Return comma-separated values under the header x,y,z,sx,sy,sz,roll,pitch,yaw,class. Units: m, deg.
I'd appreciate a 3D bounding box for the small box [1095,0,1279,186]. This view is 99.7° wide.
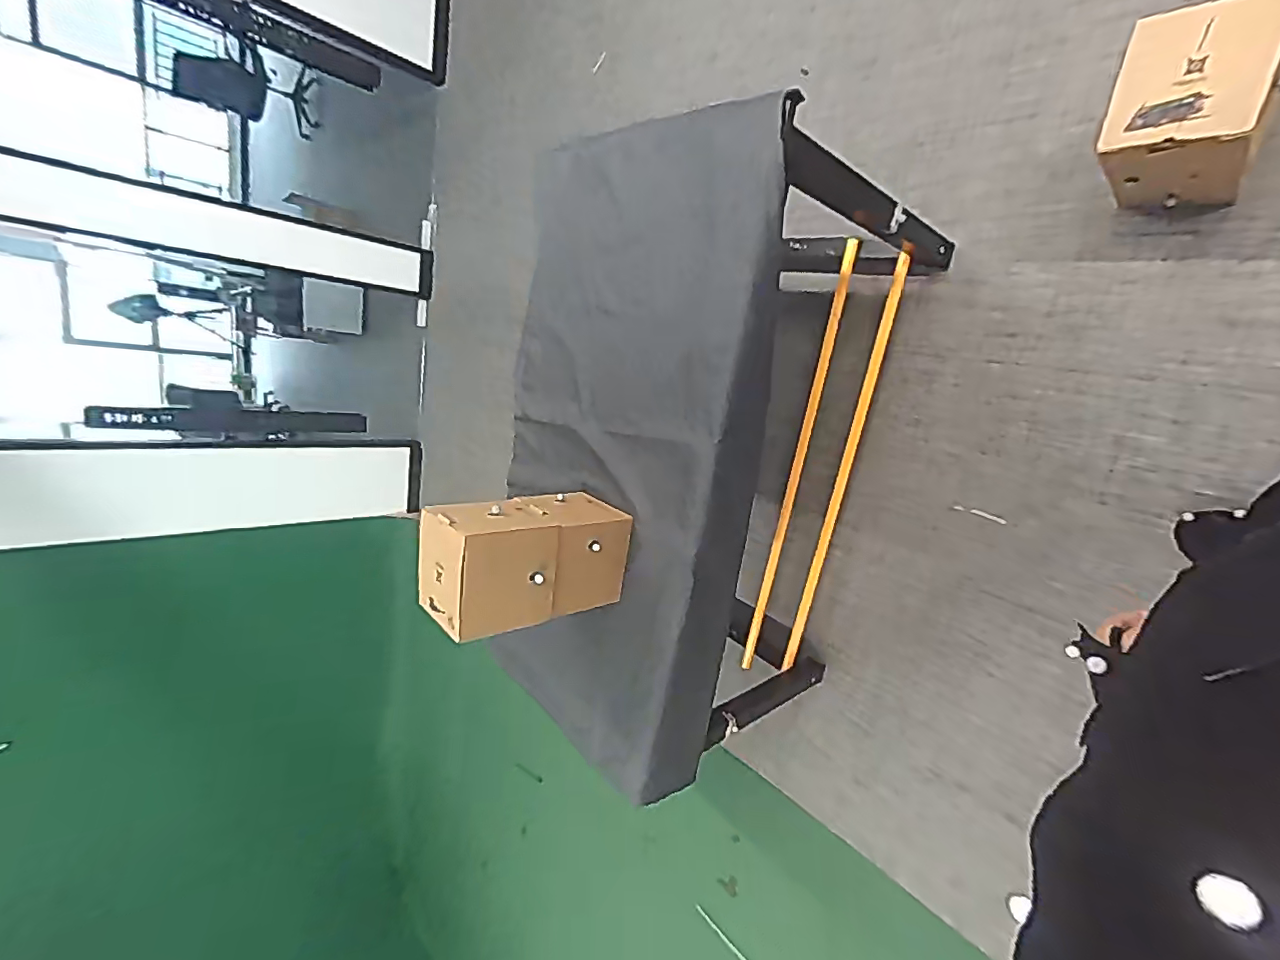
x,y,z,sx,sy,sz,roll,pitch,yaw,class
0.811,-0.553,0.794,0.168,0.176,0.179,22,107,44,small box

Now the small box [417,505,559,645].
x,y,z,sx,sy,sz,roll,pitch,yaw,class
-0.252,0.144,0.901,0.168,0.176,0.179,19,105,46,small box

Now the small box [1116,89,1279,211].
x,y,z,sx,sy,sz,roll,pitch,yaw,class
0.930,-0.572,0.906,0.168,0.176,0.179,25,109,44,small box

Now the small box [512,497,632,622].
x,y,z,sx,sy,sz,roll,pitch,yaw,class
-0.134,0.137,1.017,0.168,0.176,0.179,22,109,45,small box
